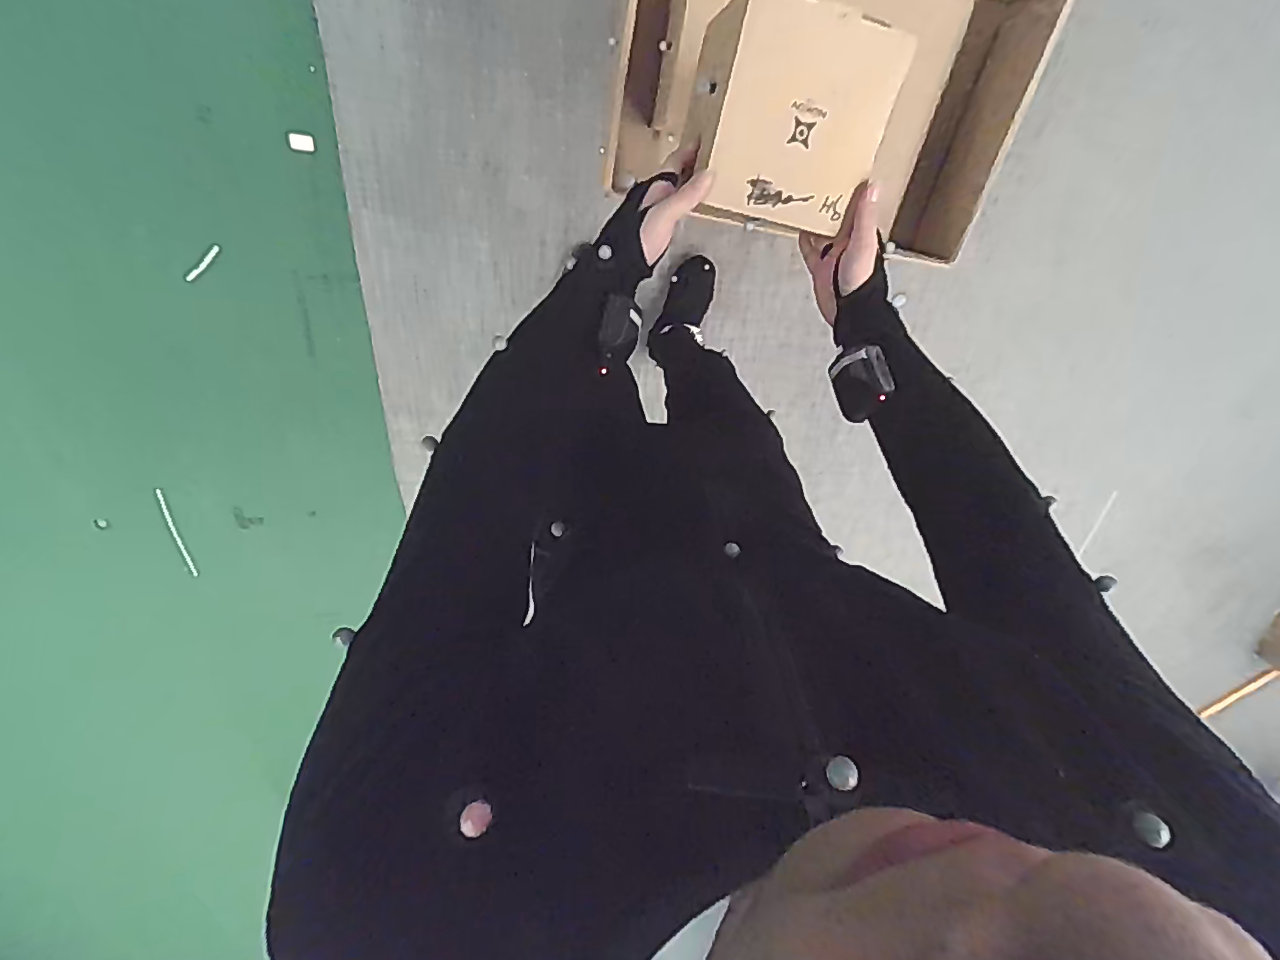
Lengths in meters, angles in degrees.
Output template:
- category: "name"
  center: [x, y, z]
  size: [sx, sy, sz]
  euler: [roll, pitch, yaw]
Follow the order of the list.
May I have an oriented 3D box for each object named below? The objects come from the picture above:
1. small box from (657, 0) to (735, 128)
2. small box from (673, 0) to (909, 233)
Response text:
- category: "small box"
  center: [0.123, -0.608, 0.788]
  size: [0.168, 0.176, 0.179]
  euler: [5, 120, -10]
- category: "small box"
  center: [0.140, -0.382, 0.580]
  size: [0.168, 0.176, 0.179]
  euler: [8, 118, -11]
